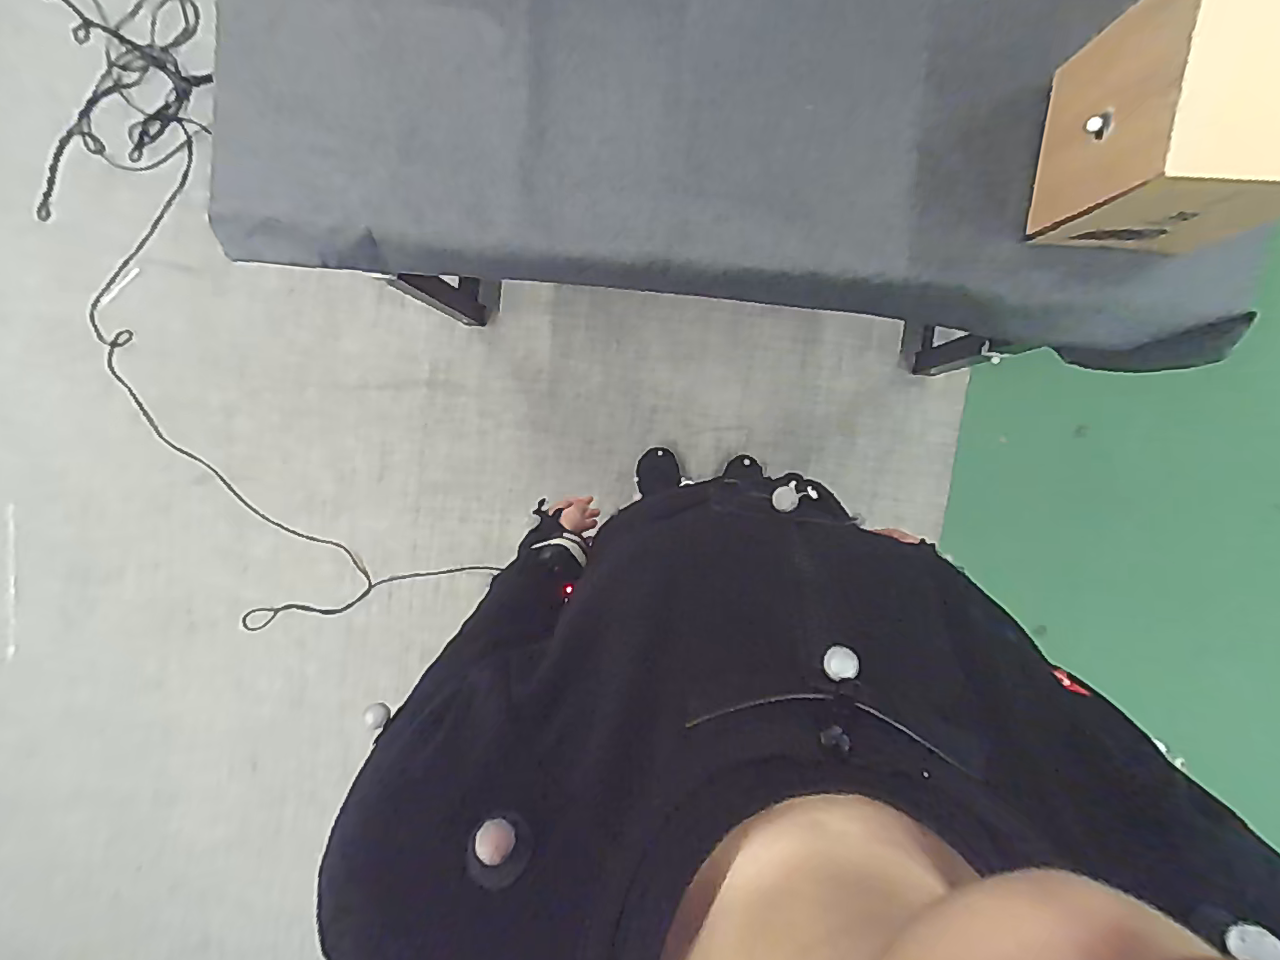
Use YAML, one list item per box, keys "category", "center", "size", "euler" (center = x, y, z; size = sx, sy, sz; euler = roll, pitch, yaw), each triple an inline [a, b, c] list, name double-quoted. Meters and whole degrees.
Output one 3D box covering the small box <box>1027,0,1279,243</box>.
- category: "small box"
  center: [0.500, -0.329, 0.486]
  size: [0.168, 0.179, 0.176]
  euler: [4, 99, 4]
